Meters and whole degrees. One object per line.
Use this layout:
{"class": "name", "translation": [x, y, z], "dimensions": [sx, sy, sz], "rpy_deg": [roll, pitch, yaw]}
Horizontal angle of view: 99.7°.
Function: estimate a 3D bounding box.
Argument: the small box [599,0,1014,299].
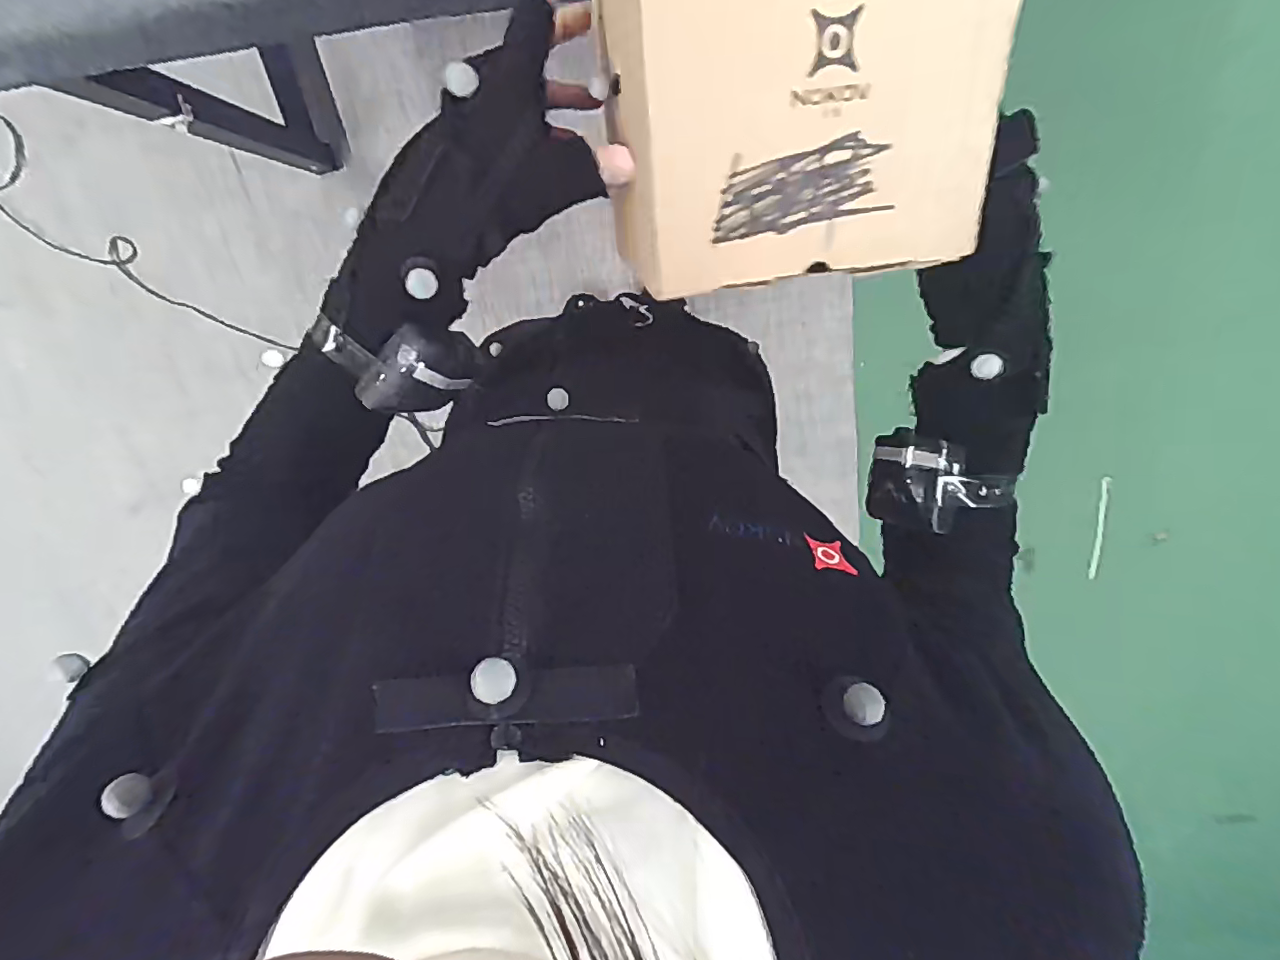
{"class": "small box", "translation": [0.072, -0.217, 0.310], "dimensions": [0.168, 0.176, 0.179], "rpy_deg": [-9, 120, -6]}
